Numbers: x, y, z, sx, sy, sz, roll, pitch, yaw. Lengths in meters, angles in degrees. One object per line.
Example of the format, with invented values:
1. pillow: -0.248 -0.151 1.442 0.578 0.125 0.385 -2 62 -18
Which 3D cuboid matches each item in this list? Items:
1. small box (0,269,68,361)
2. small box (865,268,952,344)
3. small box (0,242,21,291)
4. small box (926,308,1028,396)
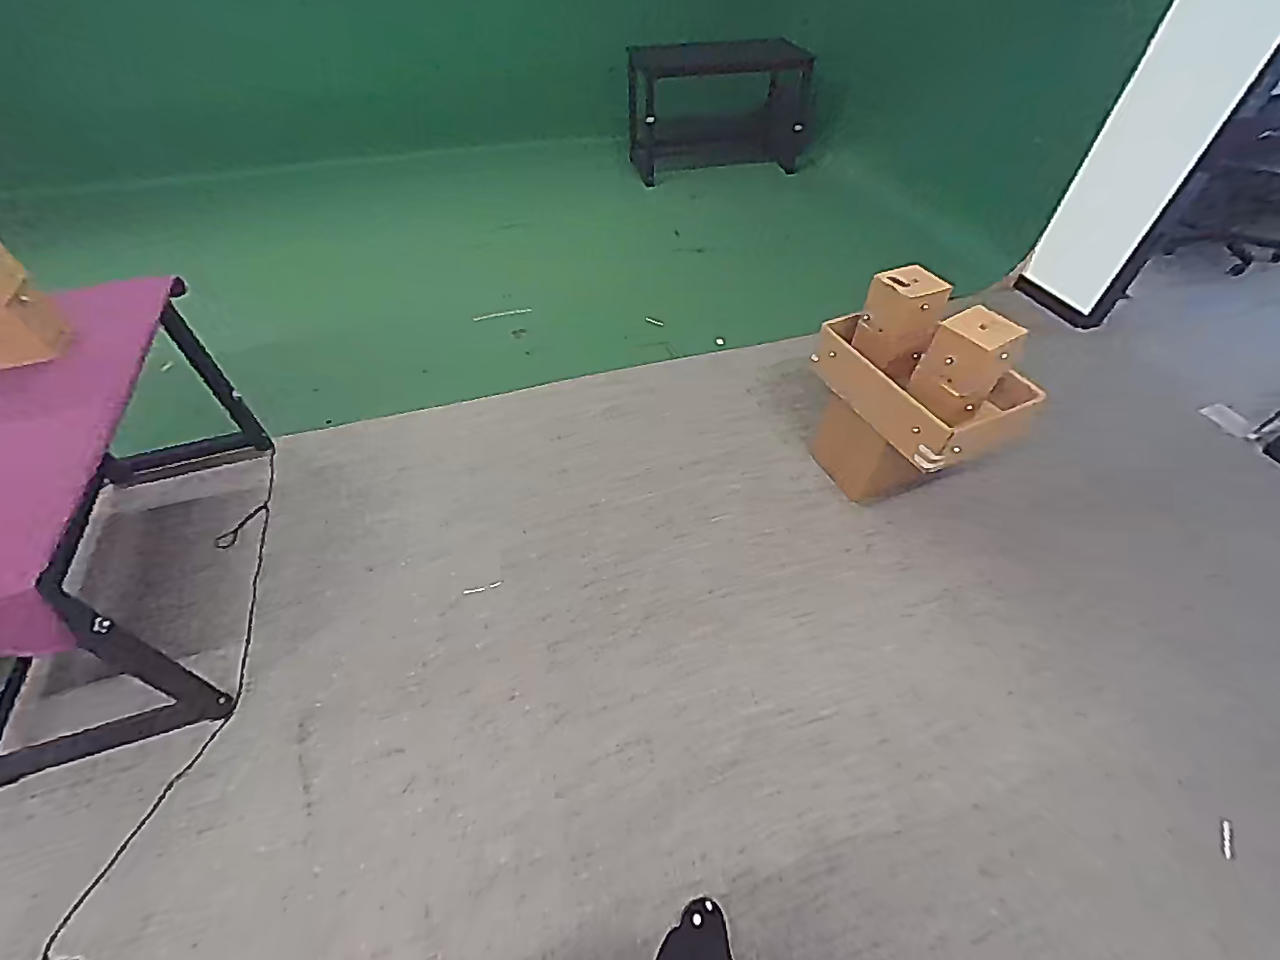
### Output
1. small box: -1.681 -0.426 1.413 0.179 0.176 0.168 -17 52 -14
2. small box: 0.864 -0.566 1.766 0.179 0.176 0.168 -16 50 -16
3. small box: -1.669 -0.537 1.293 0.179 0.176 0.168 -16 52 -14
4. small box: 0.981 -0.374 1.596 0.179 0.176 0.168 -24 54 -19
